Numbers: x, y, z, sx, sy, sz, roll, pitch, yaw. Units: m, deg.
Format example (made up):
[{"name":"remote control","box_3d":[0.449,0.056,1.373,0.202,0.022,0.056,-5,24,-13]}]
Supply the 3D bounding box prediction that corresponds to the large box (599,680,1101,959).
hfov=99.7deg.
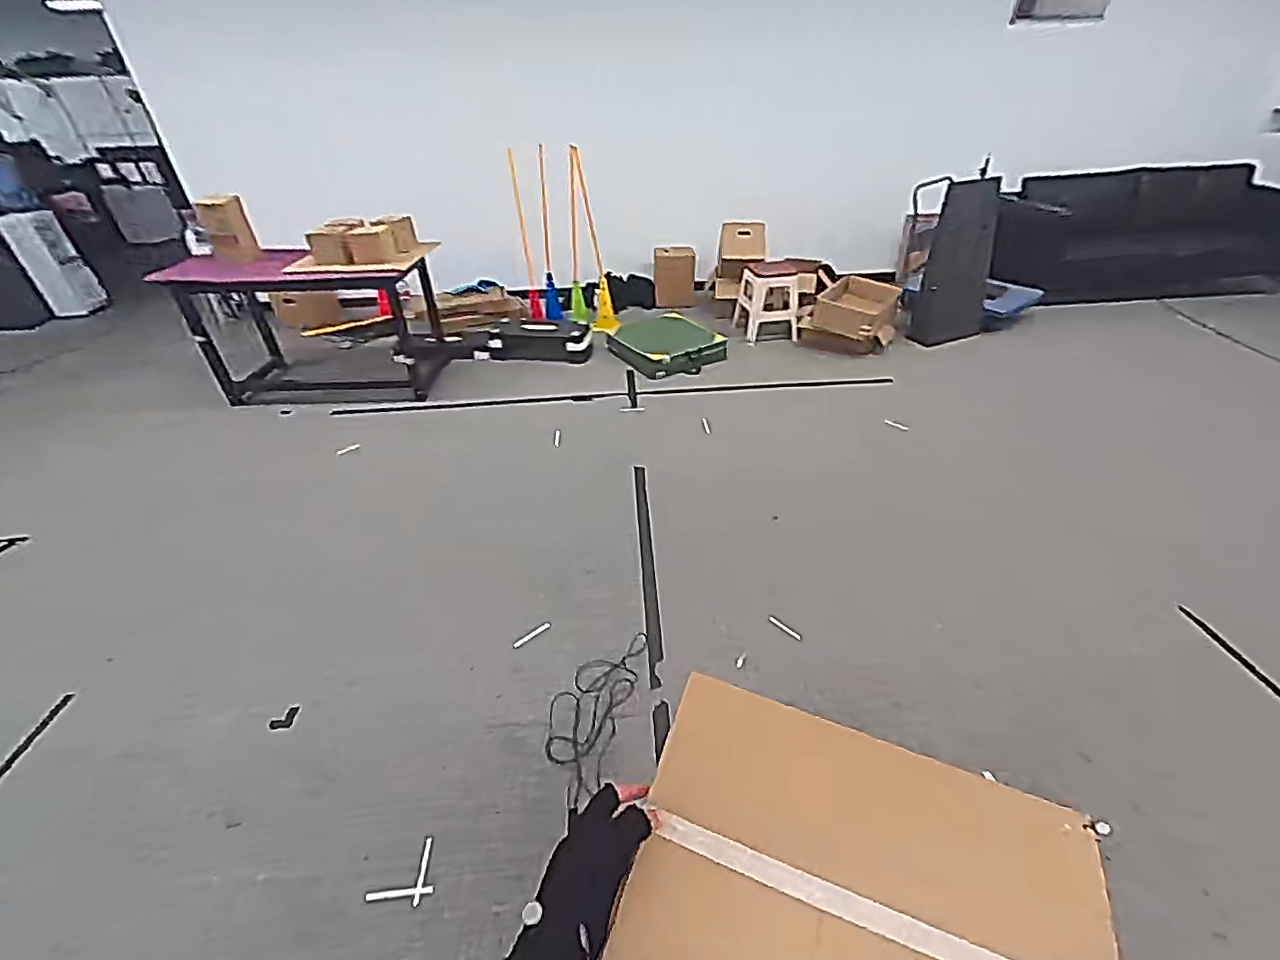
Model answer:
[{"name":"large box","box_3d":[0.187,0.485,0.584,0.408,0.320,0.320,16,46,14]}]
